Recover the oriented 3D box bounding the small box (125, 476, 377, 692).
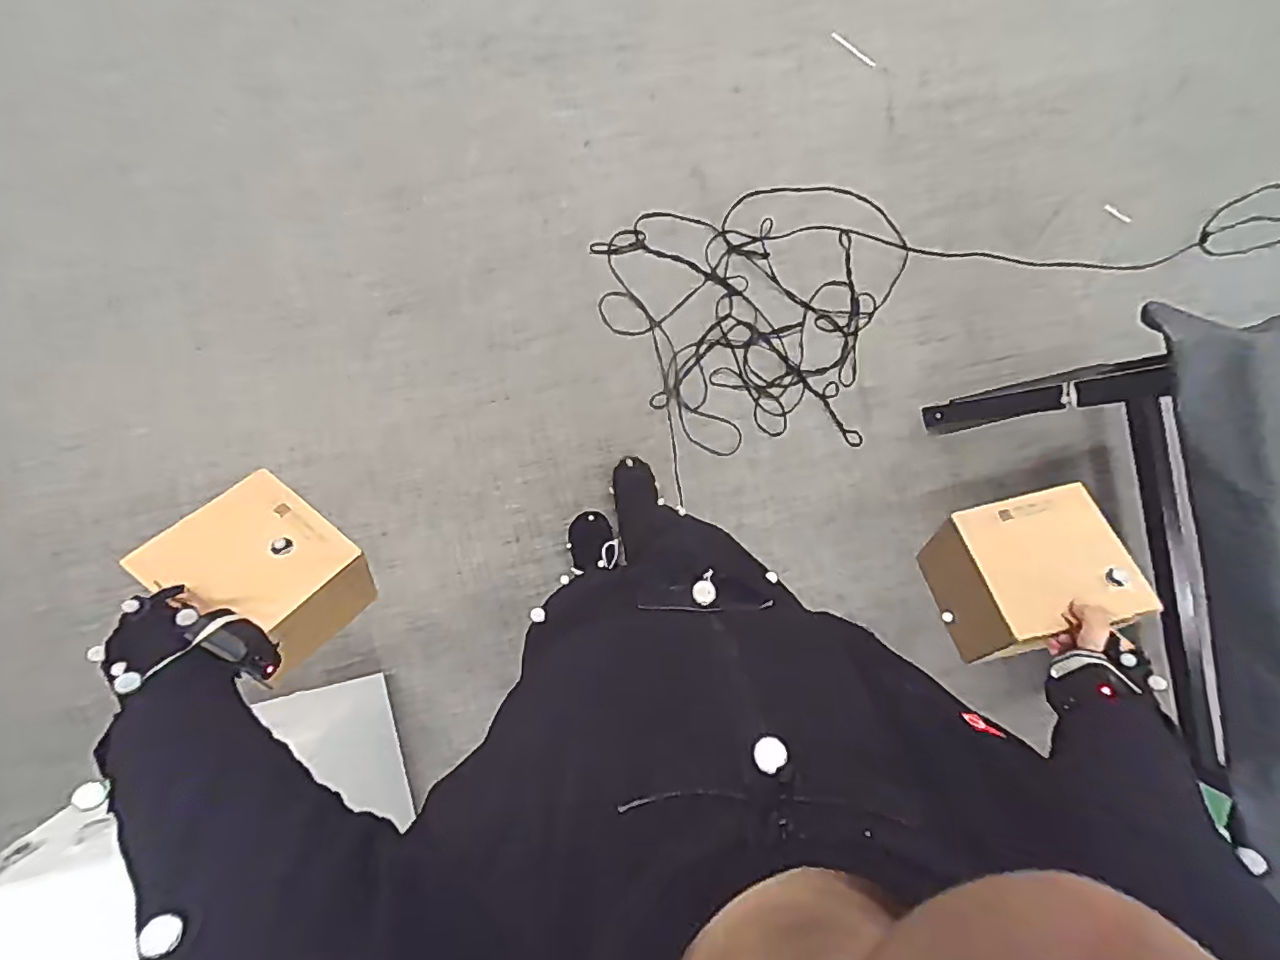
[{"bbox_3d":[-0.455,0.130,0.672,0.168,0.179,0.176,37,56,5],"label":"small box"}]
